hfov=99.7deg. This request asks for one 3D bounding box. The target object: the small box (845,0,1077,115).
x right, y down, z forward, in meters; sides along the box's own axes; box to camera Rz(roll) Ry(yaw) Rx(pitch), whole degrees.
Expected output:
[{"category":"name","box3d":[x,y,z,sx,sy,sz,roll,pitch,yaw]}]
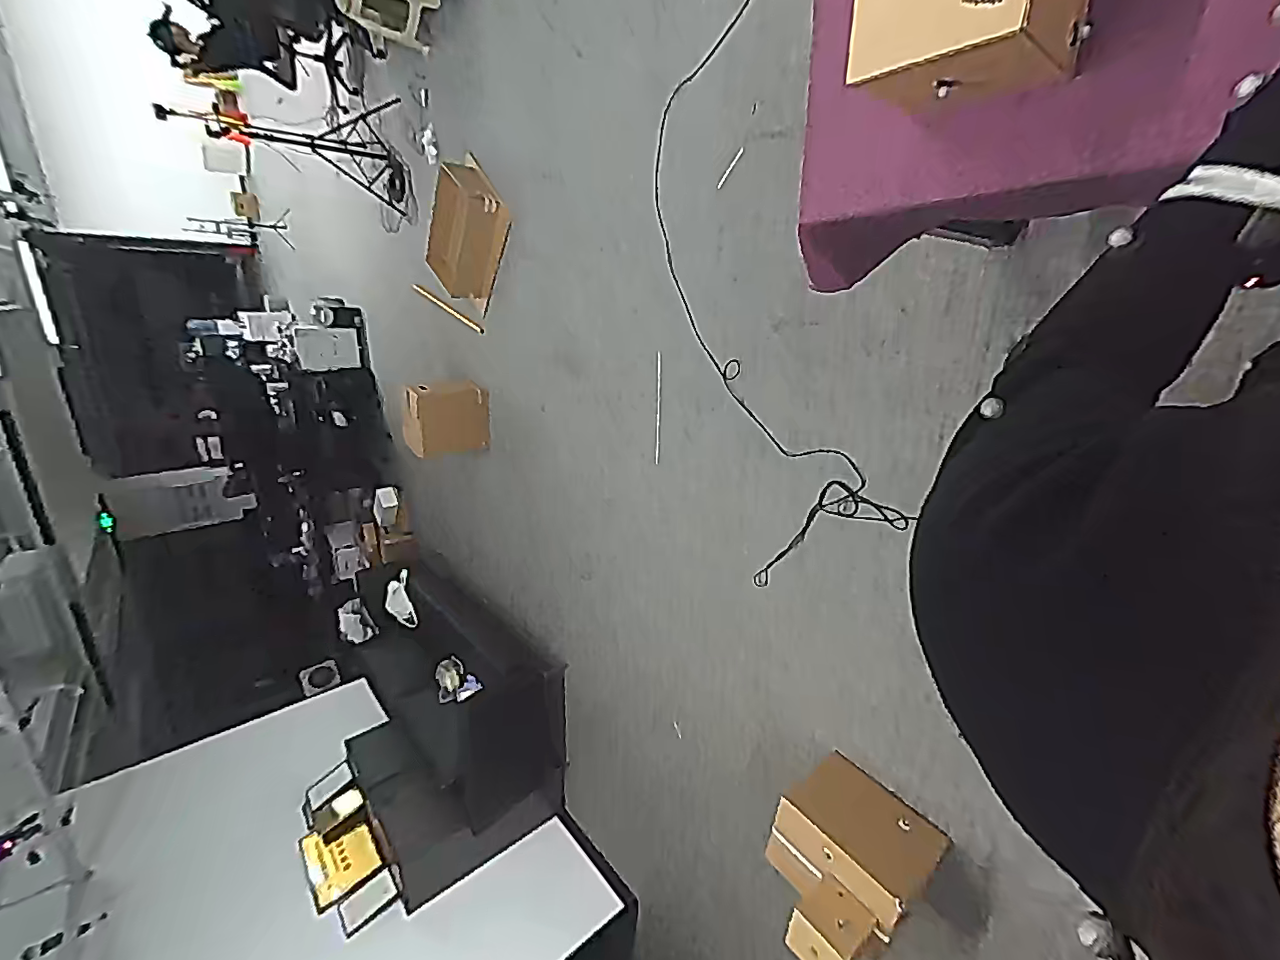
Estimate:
[{"category":"small box","box3d":[0.352,-0.520,0.579,0.179,0.176,0.168,20,116,46]}]

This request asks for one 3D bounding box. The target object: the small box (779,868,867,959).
[{"category":"small box","box3d":[0.535,1.289,1.572,0.168,0.176,0.179,29,125,43]}]
